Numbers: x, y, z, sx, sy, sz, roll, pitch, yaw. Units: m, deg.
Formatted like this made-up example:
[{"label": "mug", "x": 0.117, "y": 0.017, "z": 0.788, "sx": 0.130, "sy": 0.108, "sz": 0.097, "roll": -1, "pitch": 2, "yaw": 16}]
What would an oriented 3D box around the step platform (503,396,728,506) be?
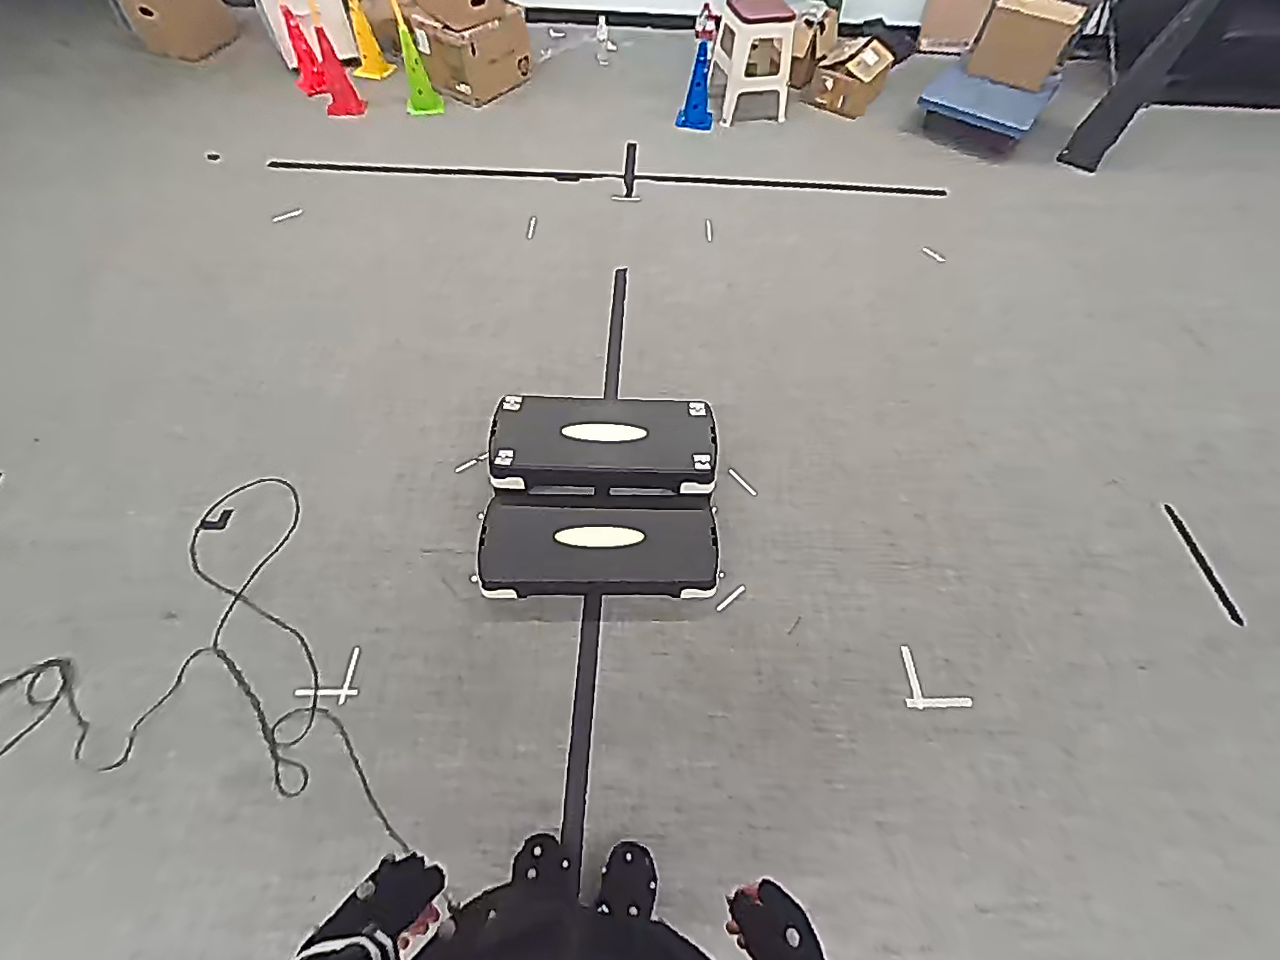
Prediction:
[{"label": "step platform", "x": -0.072, "y": -0.093, "z": 1.673, "sx": 0.684, "sy": 0.204, "sz": 0.286, "roll": 2, "pitch": 57, "yaw": -3}]
